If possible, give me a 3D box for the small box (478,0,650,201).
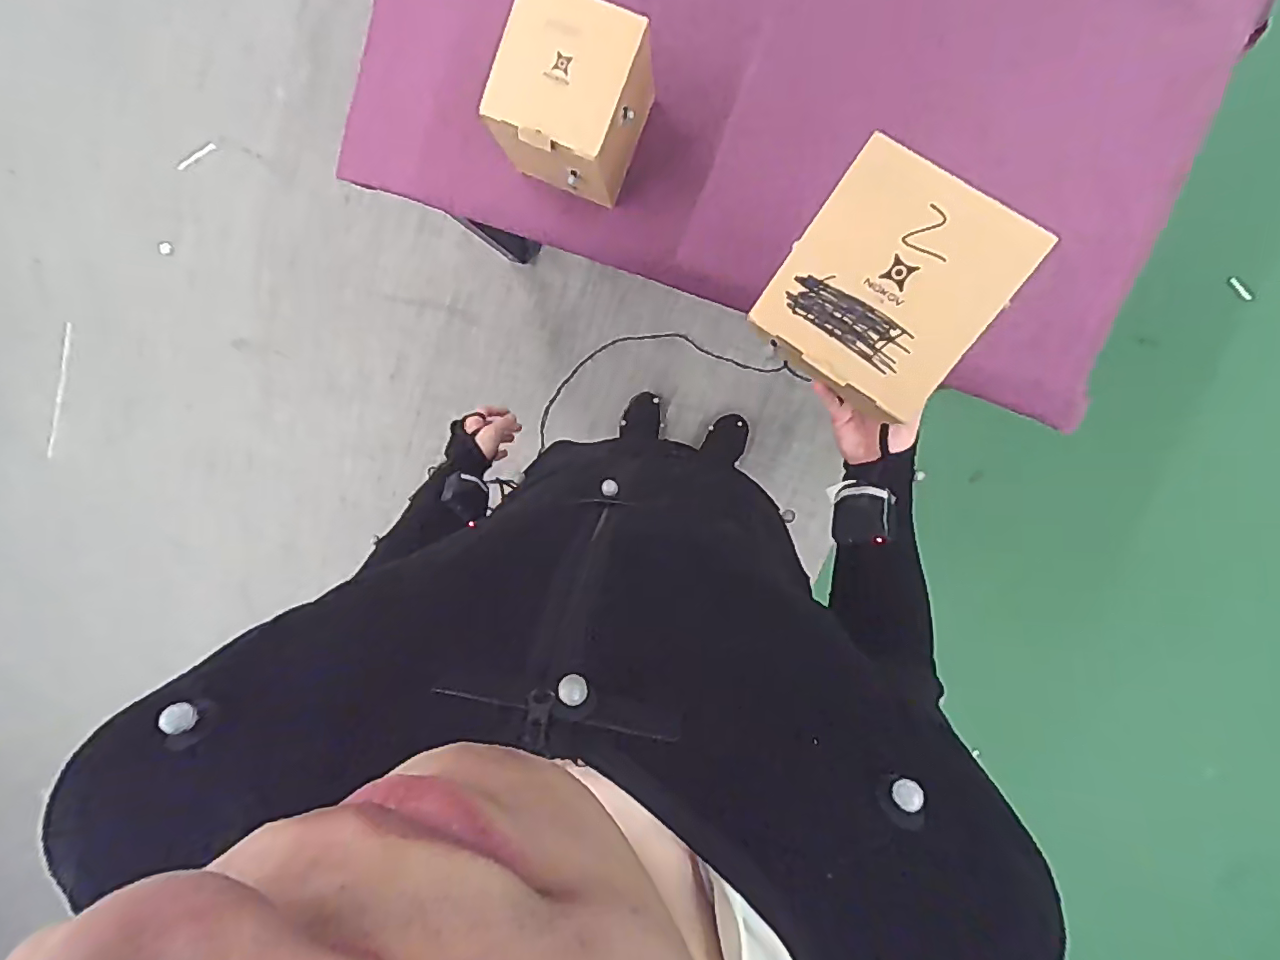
[{"bbox_3d":[-0.092,-0.523,0.749,0.168,0.176,0.179,24,98,1],"label":"small box"}]
